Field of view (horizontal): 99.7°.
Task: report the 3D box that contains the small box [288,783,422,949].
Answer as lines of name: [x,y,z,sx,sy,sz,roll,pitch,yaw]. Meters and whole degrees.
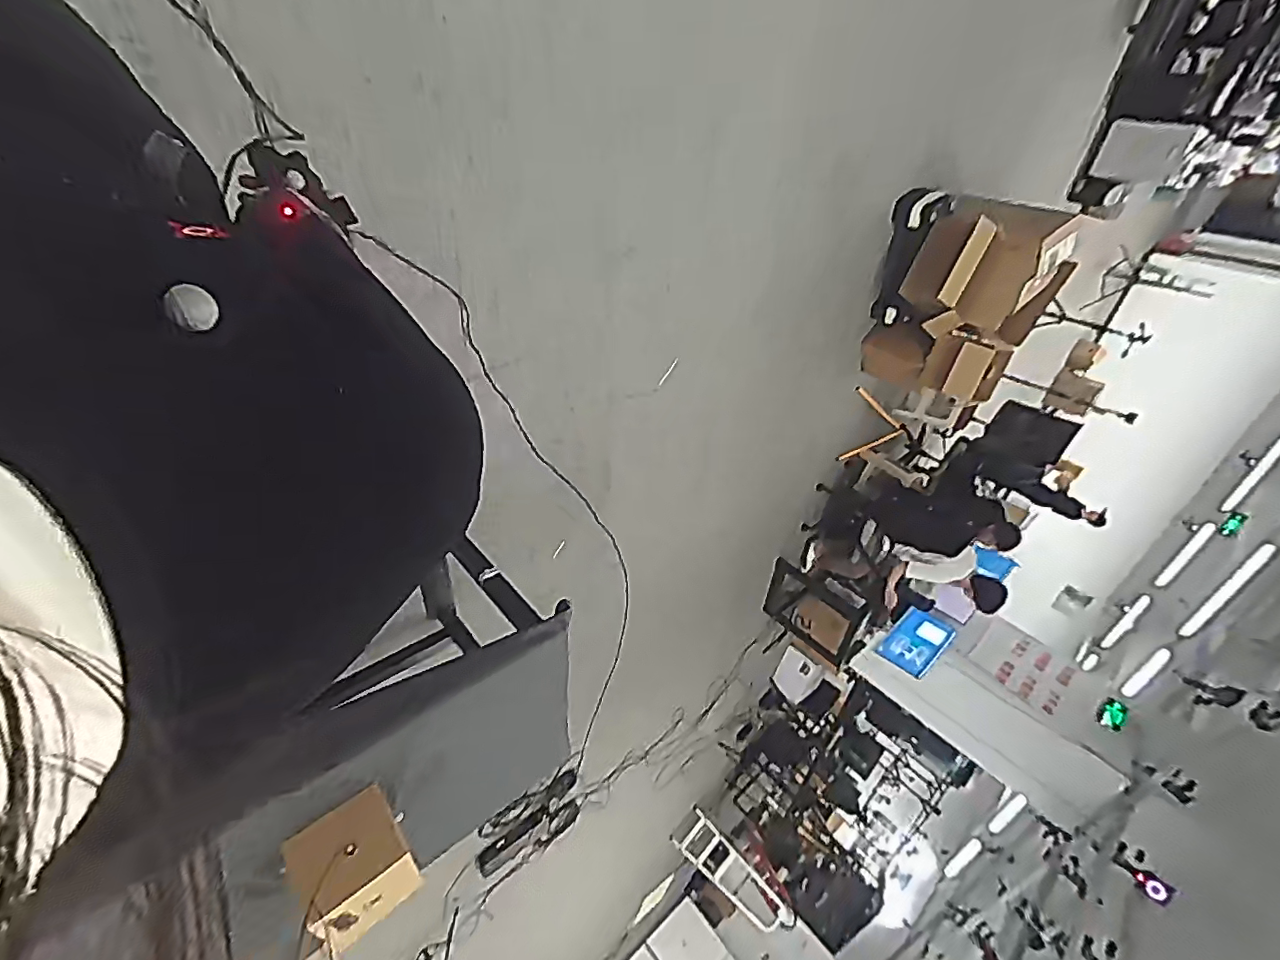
small box: [-0.558,0.745,1.055,0.179,0.176,0.168,-27,137,-32]
